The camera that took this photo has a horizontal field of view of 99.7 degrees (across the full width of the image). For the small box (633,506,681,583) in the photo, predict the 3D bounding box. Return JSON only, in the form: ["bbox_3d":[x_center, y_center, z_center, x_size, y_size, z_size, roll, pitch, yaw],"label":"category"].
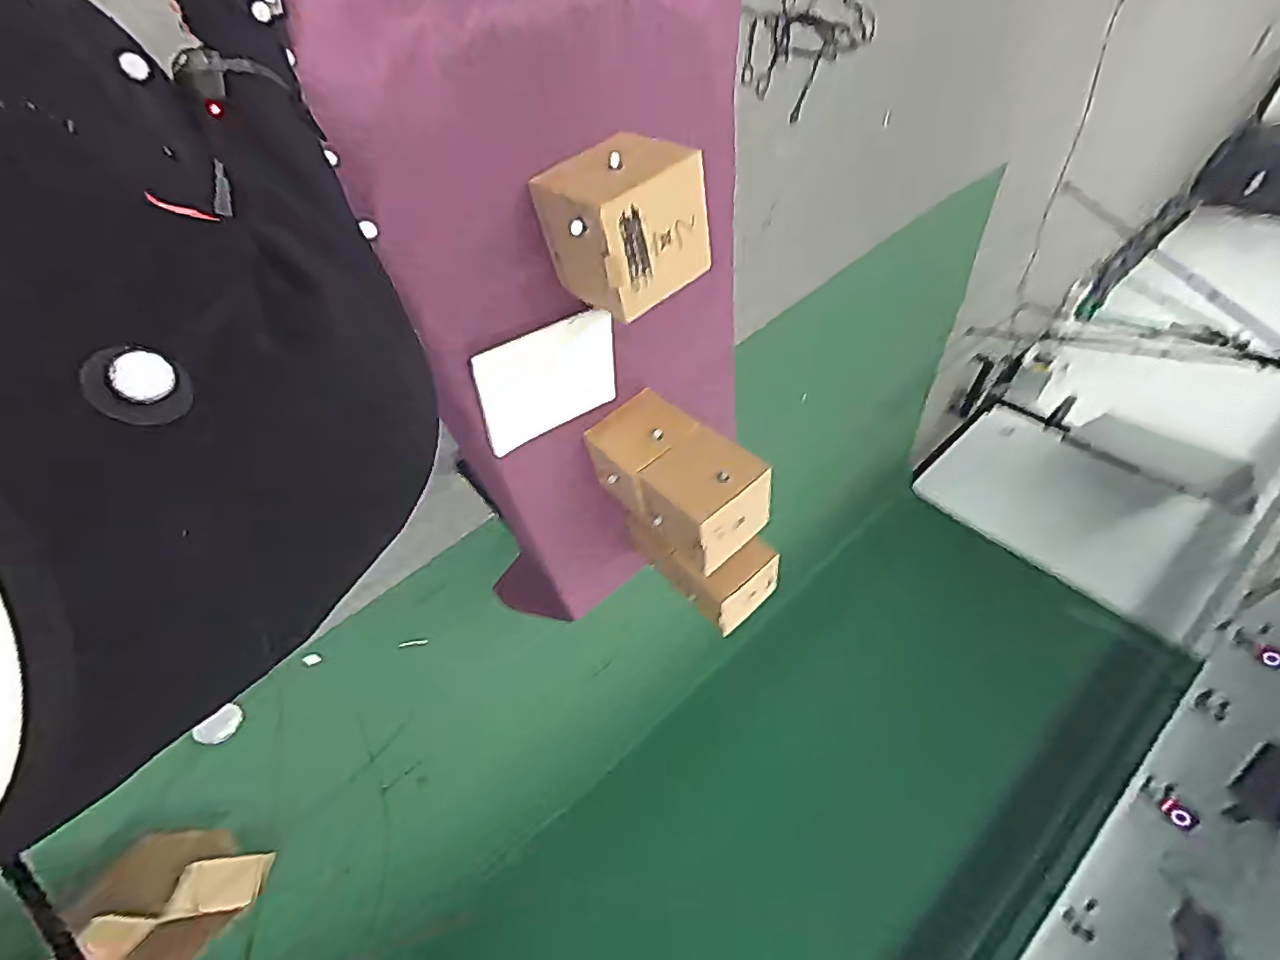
[{"bbox_3d":[0.097,0.119,1.366,0.179,0.176,0.168,-36,143,-20],"label":"small box"}]

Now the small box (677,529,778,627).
[{"bbox_3d":[0.199,0.202,1.268,0.179,0.176,0.168,-35,144,-19],"label":"small box"}]

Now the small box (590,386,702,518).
[{"bbox_3d":[0.016,-0.061,1.113,0.179,0.176,0.168,-39,143,-18],"label":"small box"}]

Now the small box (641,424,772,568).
[{"bbox_3d":[0.126,0.023,1.023,0.179,0.176,0.168,-36,142,-20],"label":"small box"}]
